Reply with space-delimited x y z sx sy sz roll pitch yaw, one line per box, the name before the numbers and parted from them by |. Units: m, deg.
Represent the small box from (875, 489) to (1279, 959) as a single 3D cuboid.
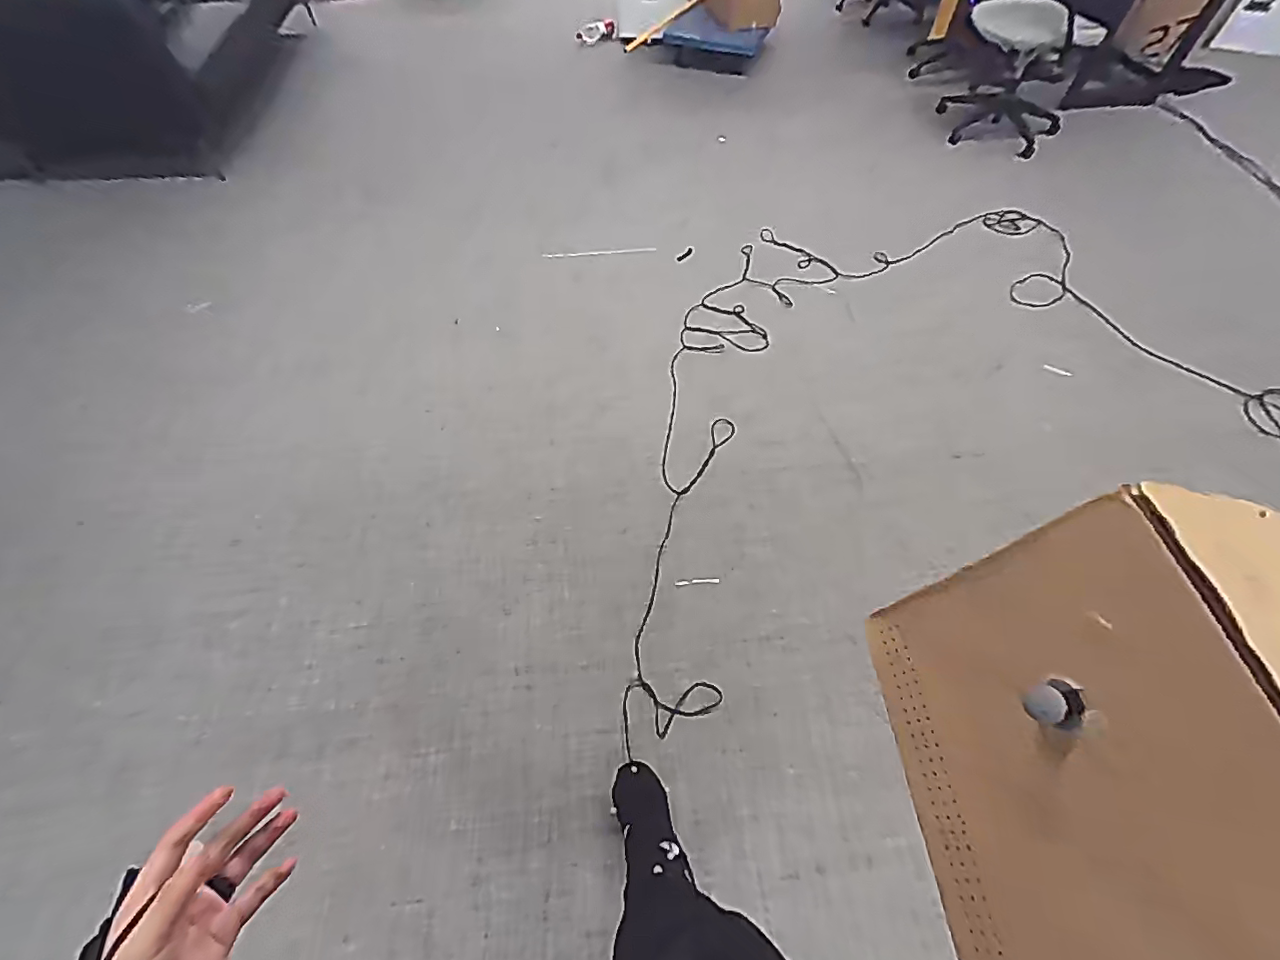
small box | 0.252 0.129 0.266 0.168 0.176 0.179 7 54 -17
